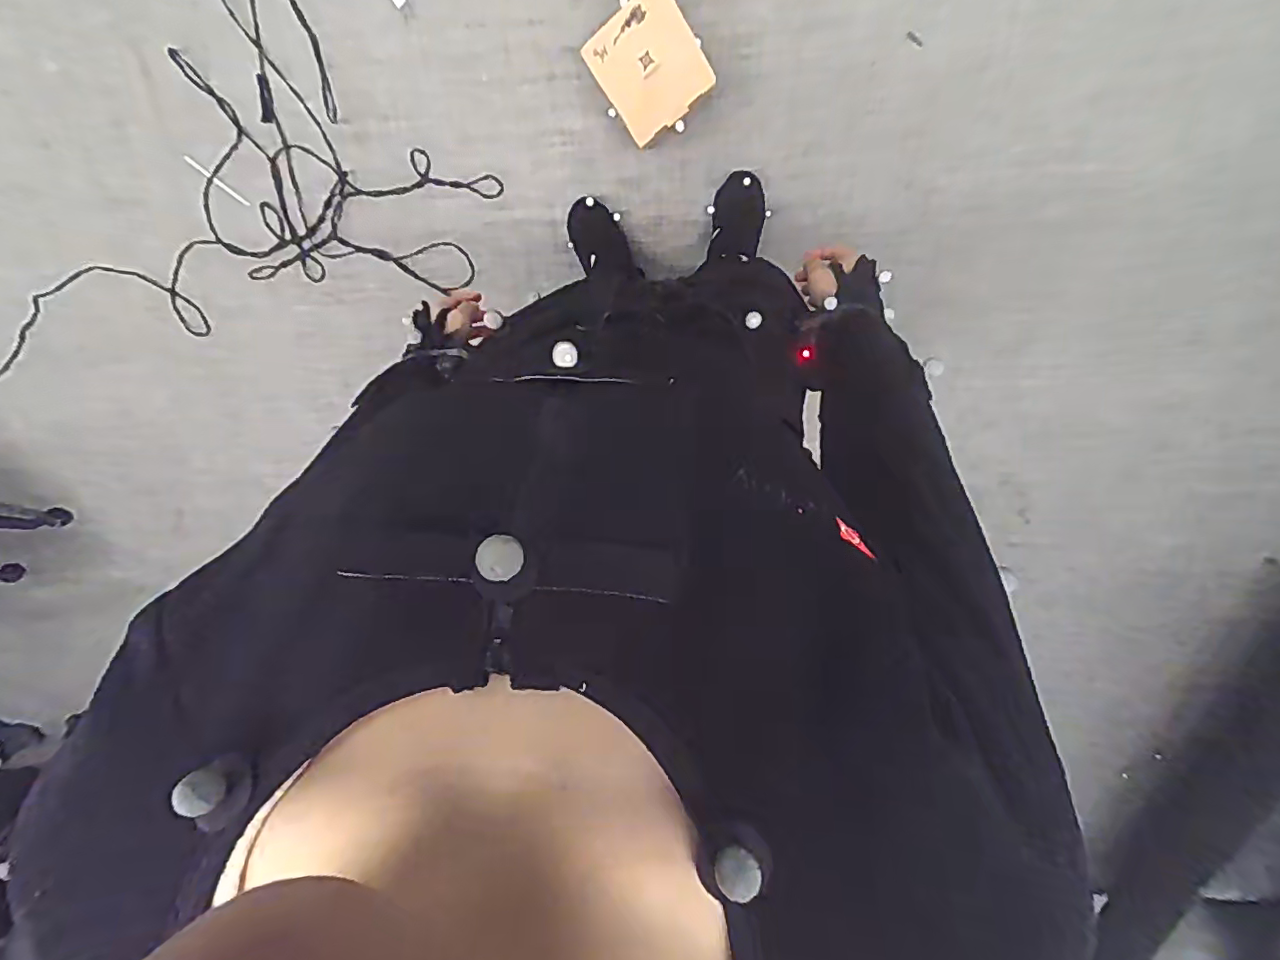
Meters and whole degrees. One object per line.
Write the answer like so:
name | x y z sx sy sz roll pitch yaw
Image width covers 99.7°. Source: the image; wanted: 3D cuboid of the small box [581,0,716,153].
small box | 0.020 -0.726 0.975 0.168 0.176 0.179 -32 114 19
